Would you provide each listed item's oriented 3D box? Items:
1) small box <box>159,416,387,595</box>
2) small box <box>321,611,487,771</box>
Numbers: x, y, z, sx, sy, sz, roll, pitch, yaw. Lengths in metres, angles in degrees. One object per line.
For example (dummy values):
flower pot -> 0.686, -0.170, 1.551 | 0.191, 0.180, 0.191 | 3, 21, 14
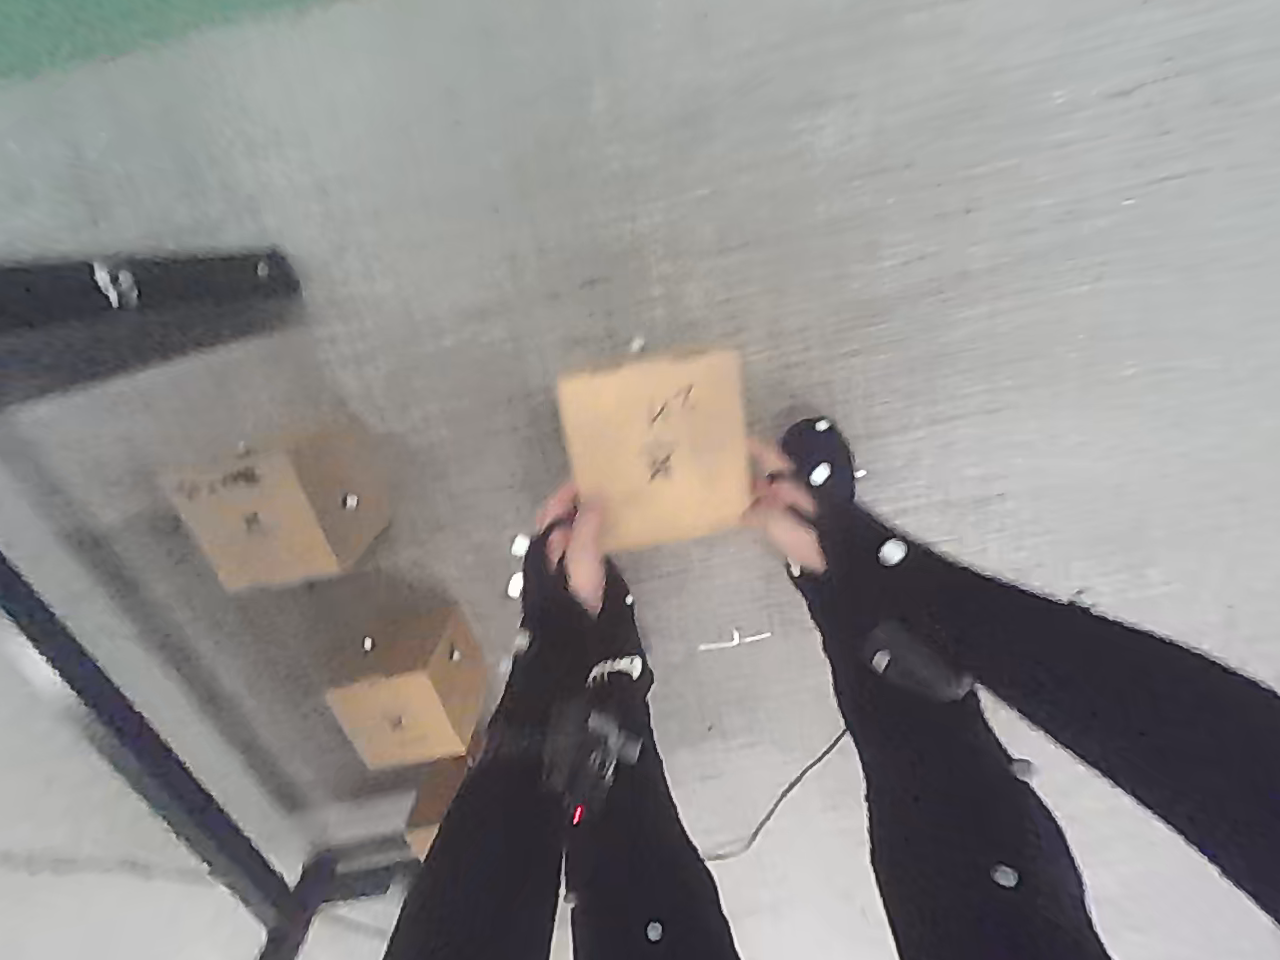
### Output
small box -> -0.485, 0.029, 0.751 | 0.168, 0.176, 0.179 | -11, 114, 3
small box -> -0.371, 0.335, 0.888 | 0.168, 0.176, 0.179 | -12, 114, 5
